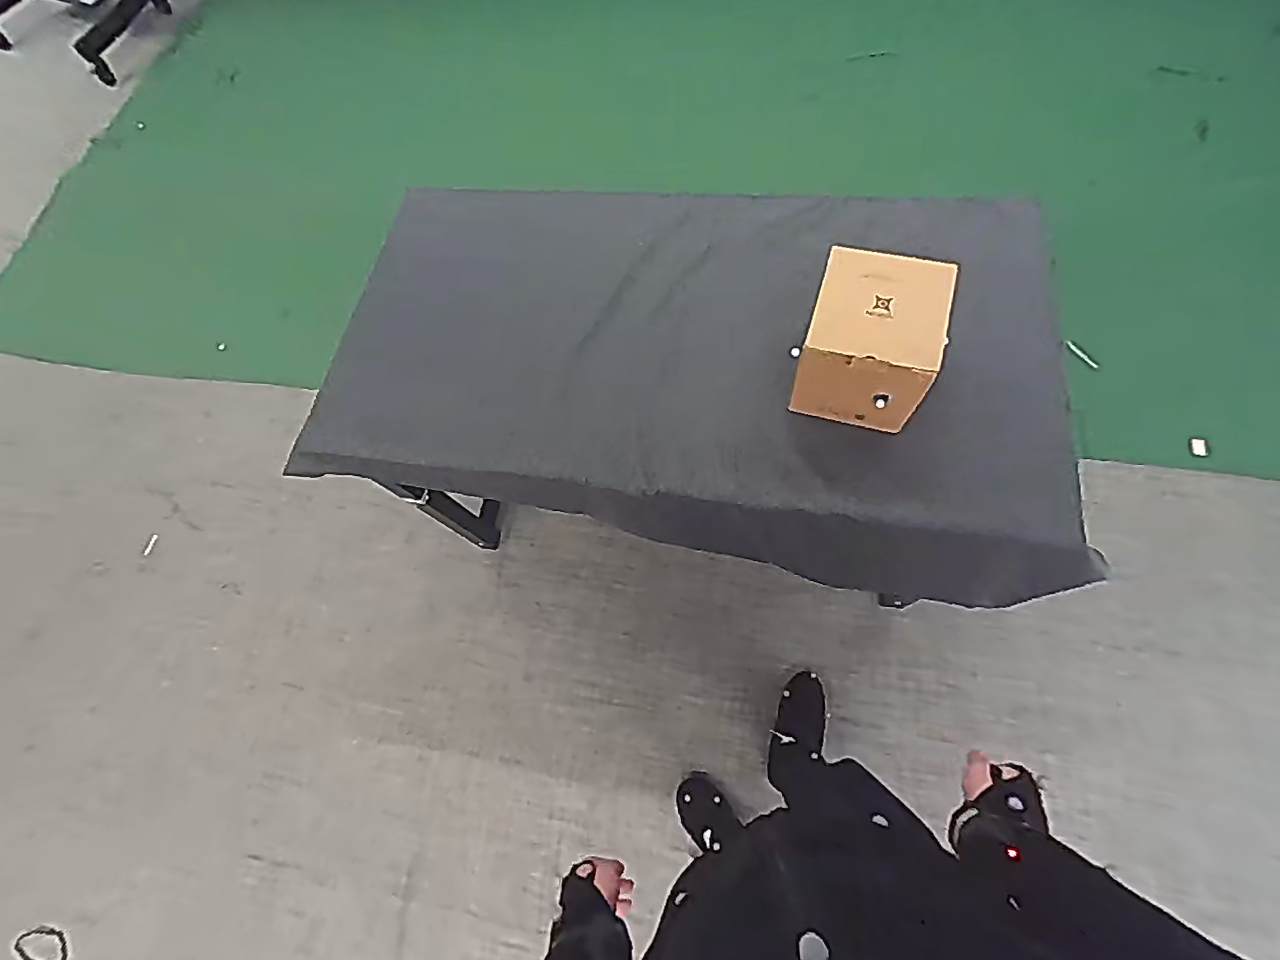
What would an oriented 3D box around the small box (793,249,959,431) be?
[{"bbox_3d":[0.328,-0.193,0.780,0.168,0.176,0.179,16,70,12],"label":"small box"}]
